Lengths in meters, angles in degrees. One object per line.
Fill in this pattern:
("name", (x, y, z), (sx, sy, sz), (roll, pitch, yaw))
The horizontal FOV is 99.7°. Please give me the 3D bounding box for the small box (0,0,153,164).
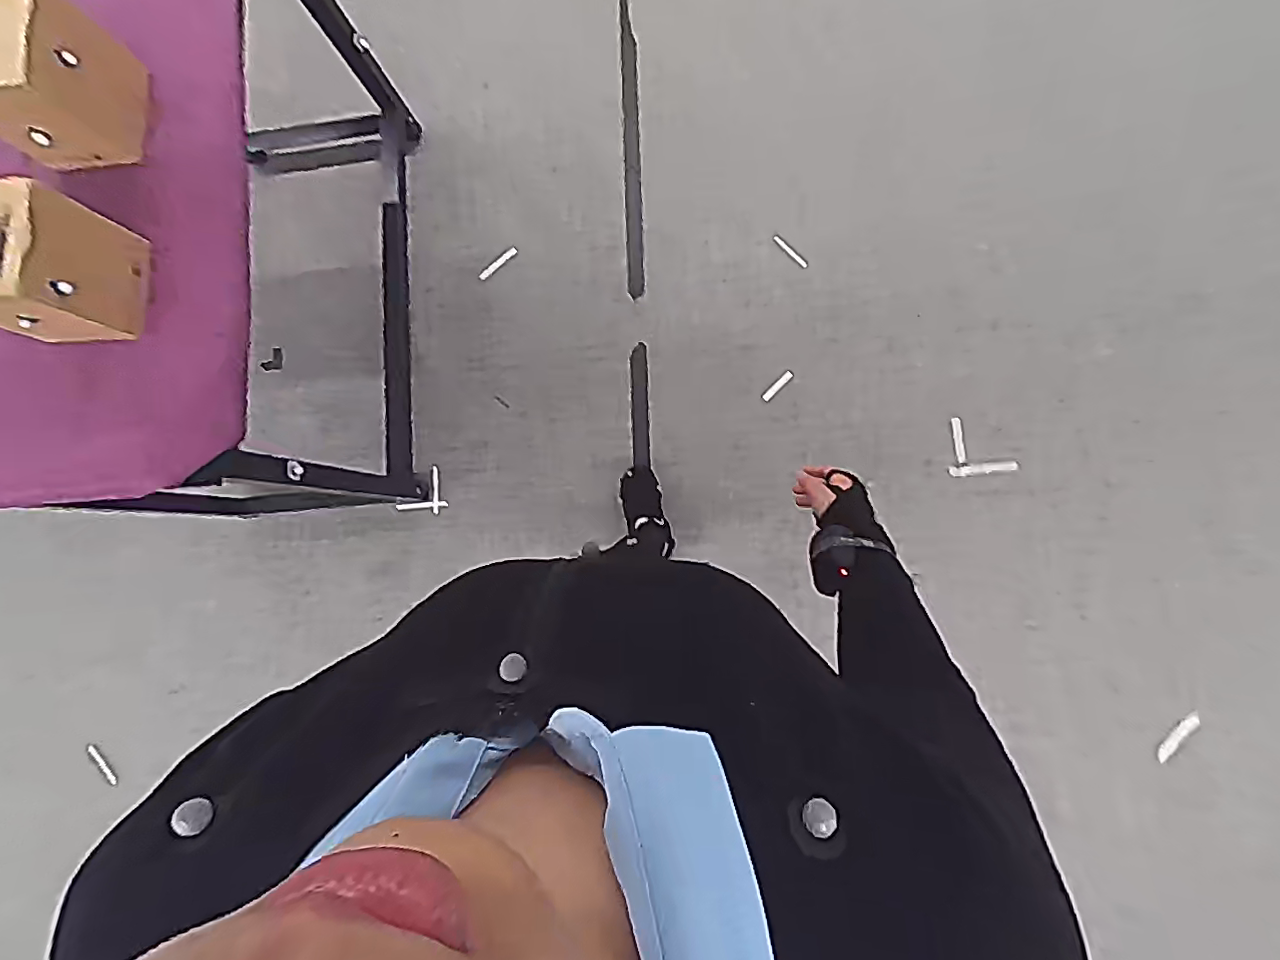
("small box", (-0.918, -0.622, 0.845), (0.168, 0.176, 0.179), (-1, 84, 5))
